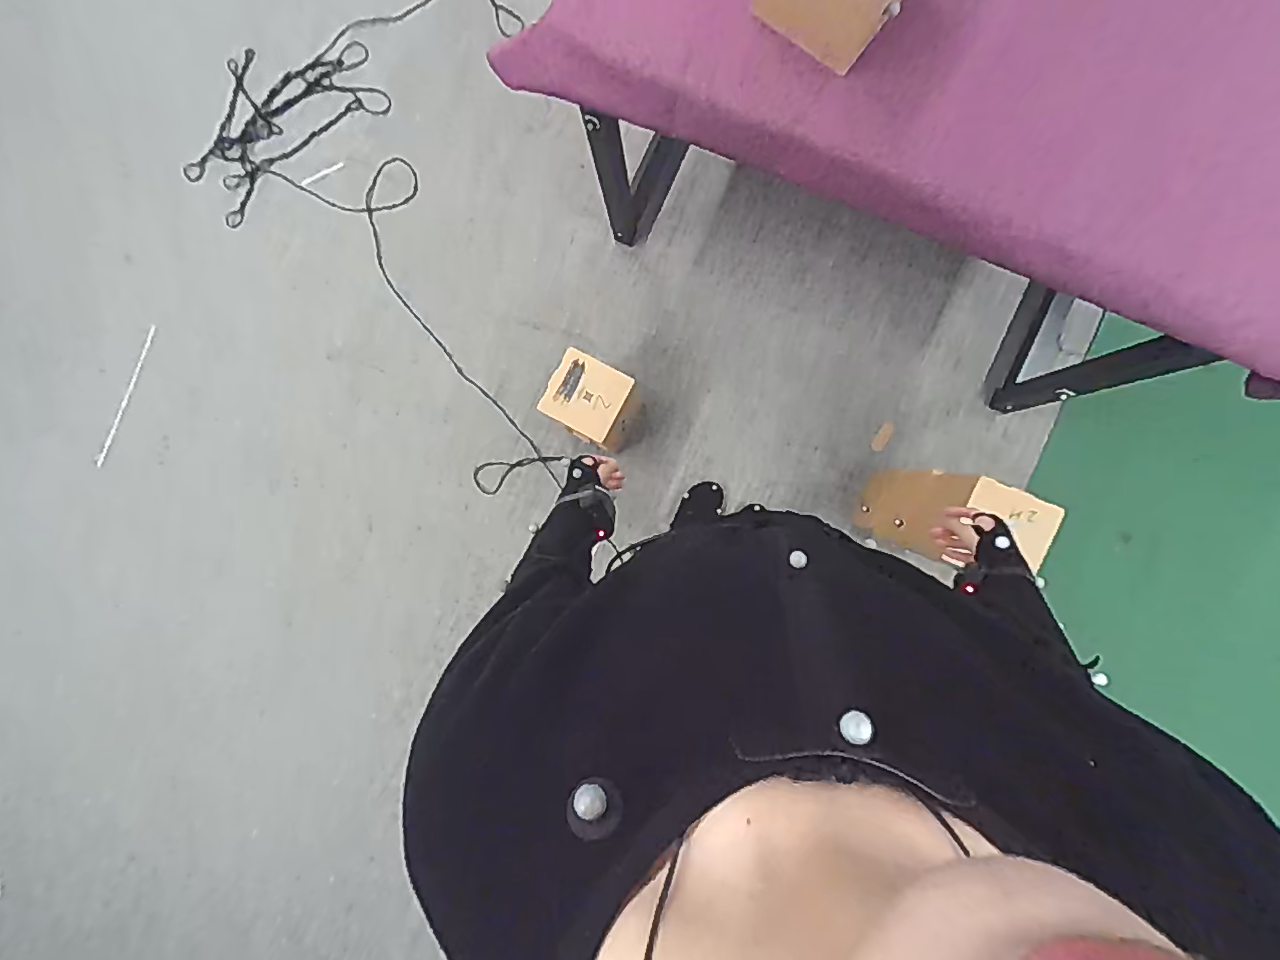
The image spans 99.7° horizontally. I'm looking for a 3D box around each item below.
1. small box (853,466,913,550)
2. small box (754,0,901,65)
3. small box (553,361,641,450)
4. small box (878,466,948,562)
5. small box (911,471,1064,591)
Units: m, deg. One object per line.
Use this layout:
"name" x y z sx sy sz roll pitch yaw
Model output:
"small box" 0.682 0.078 1.397 0.179 0.176 0.168 26 91 4
"small box" 0.272 -0.711 0.713 0.179 0.176 0.168 38 92 3
"small box" -0.108 -0.191 1.459 0.168 0.176 0.179 28 92 4
"small box" 0.674 0.080 1.235 0.168 0.176 0.179 23 92 4
"small box" 0.670 0.094 1.070 0.168 0.176 0.179 24 92 4
